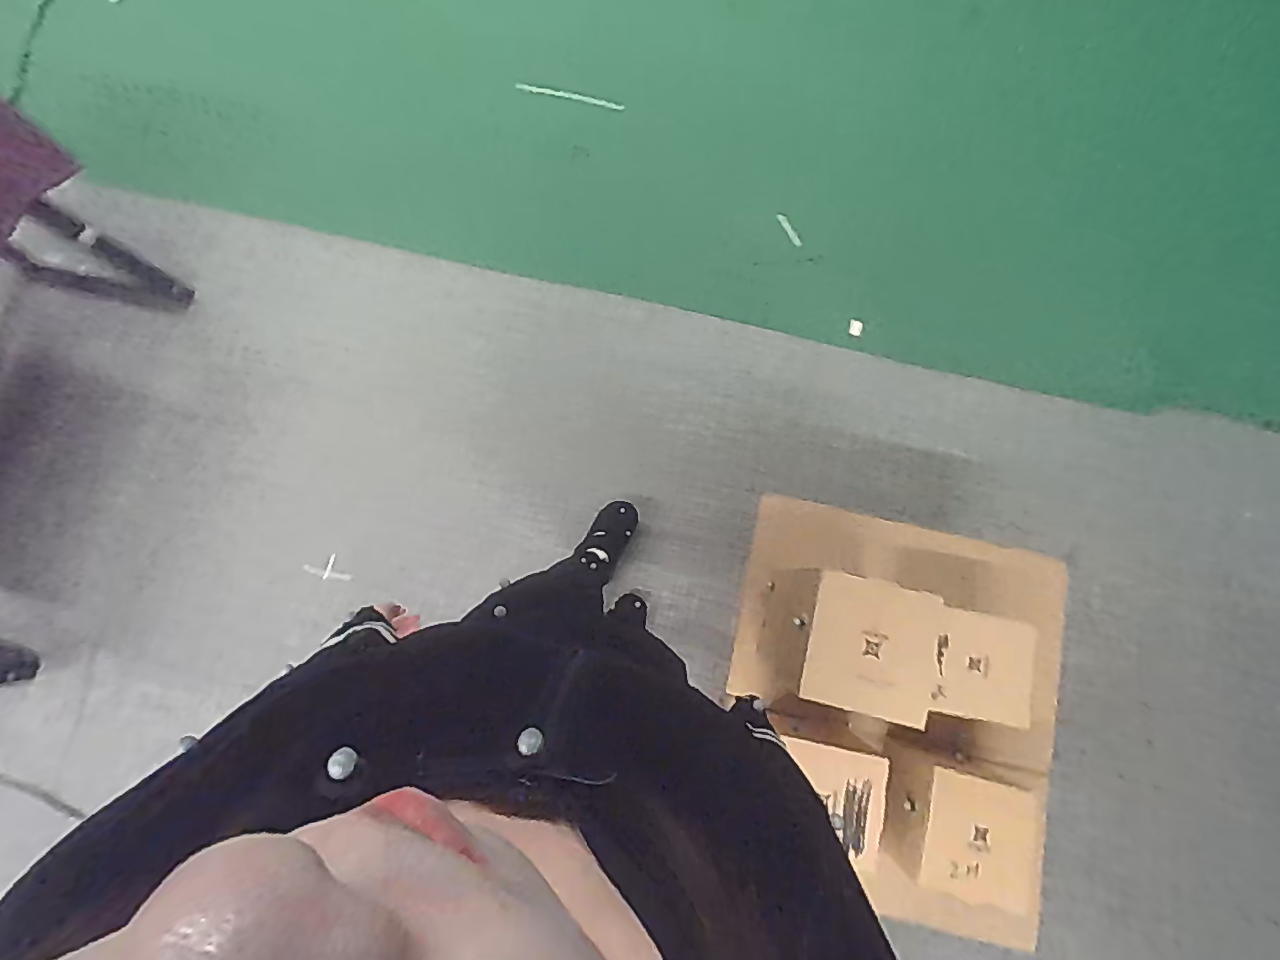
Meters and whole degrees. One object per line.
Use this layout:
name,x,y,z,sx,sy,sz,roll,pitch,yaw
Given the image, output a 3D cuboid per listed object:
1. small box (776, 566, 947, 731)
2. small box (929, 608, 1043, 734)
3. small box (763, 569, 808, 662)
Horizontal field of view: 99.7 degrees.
small box,0.308,0.231,0.783,0.168,0.176,0.179,15,81,5
small box,0.543,0.313,0.931,0.179,0.176,0.168,12,79,1
small box,0.327,0.259,0.944,0.179,0.176,0.168,15,80,2
